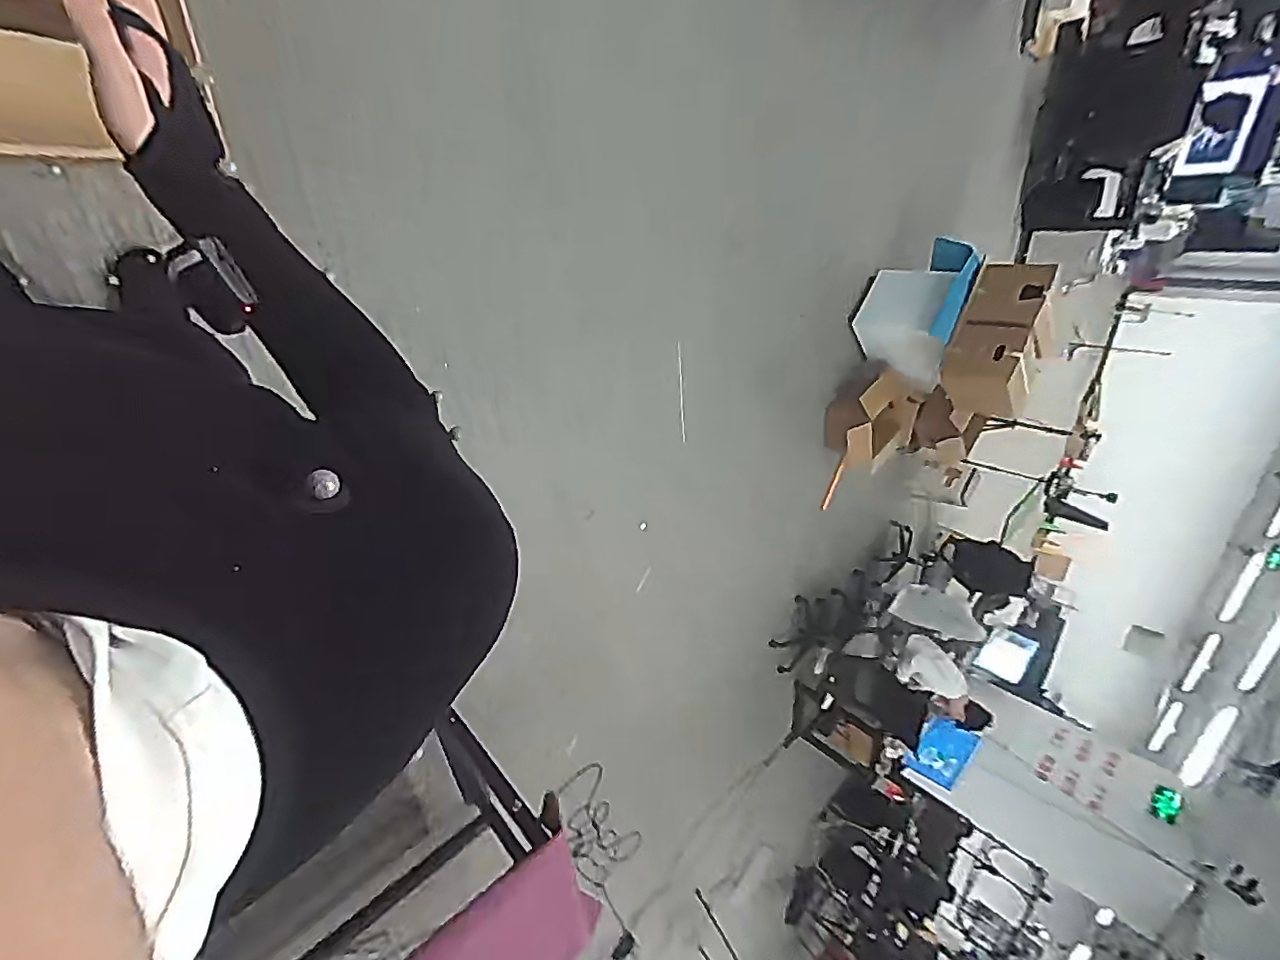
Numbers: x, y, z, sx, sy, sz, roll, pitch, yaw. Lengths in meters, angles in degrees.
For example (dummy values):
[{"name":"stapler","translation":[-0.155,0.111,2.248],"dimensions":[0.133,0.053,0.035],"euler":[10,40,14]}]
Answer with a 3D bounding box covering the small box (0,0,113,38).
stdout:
[{"name":"small box","translation":[-0.474,-0.420,0.345],"dimensions":[0.168,0.176,0.179],"euler":[-14,120,-36]}]
